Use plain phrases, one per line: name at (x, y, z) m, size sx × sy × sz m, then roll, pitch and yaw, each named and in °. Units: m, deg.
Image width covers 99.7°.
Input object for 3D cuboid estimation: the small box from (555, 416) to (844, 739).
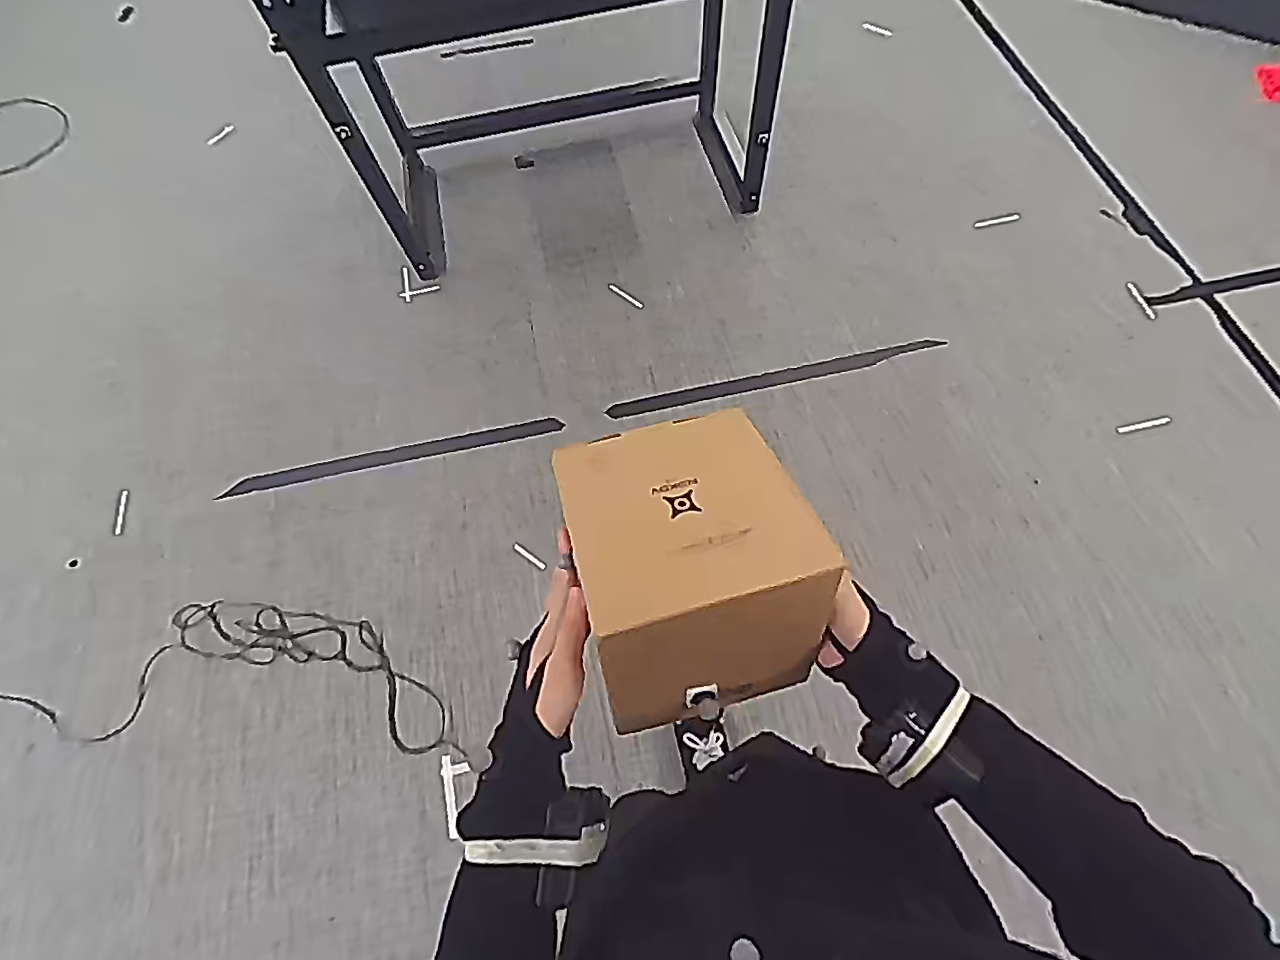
small box at (0.036, 0.078, 0.447) m, size 0.168 × 0.176 × 0.179 m, roll -15°, pitch 46°, yaw -8°
